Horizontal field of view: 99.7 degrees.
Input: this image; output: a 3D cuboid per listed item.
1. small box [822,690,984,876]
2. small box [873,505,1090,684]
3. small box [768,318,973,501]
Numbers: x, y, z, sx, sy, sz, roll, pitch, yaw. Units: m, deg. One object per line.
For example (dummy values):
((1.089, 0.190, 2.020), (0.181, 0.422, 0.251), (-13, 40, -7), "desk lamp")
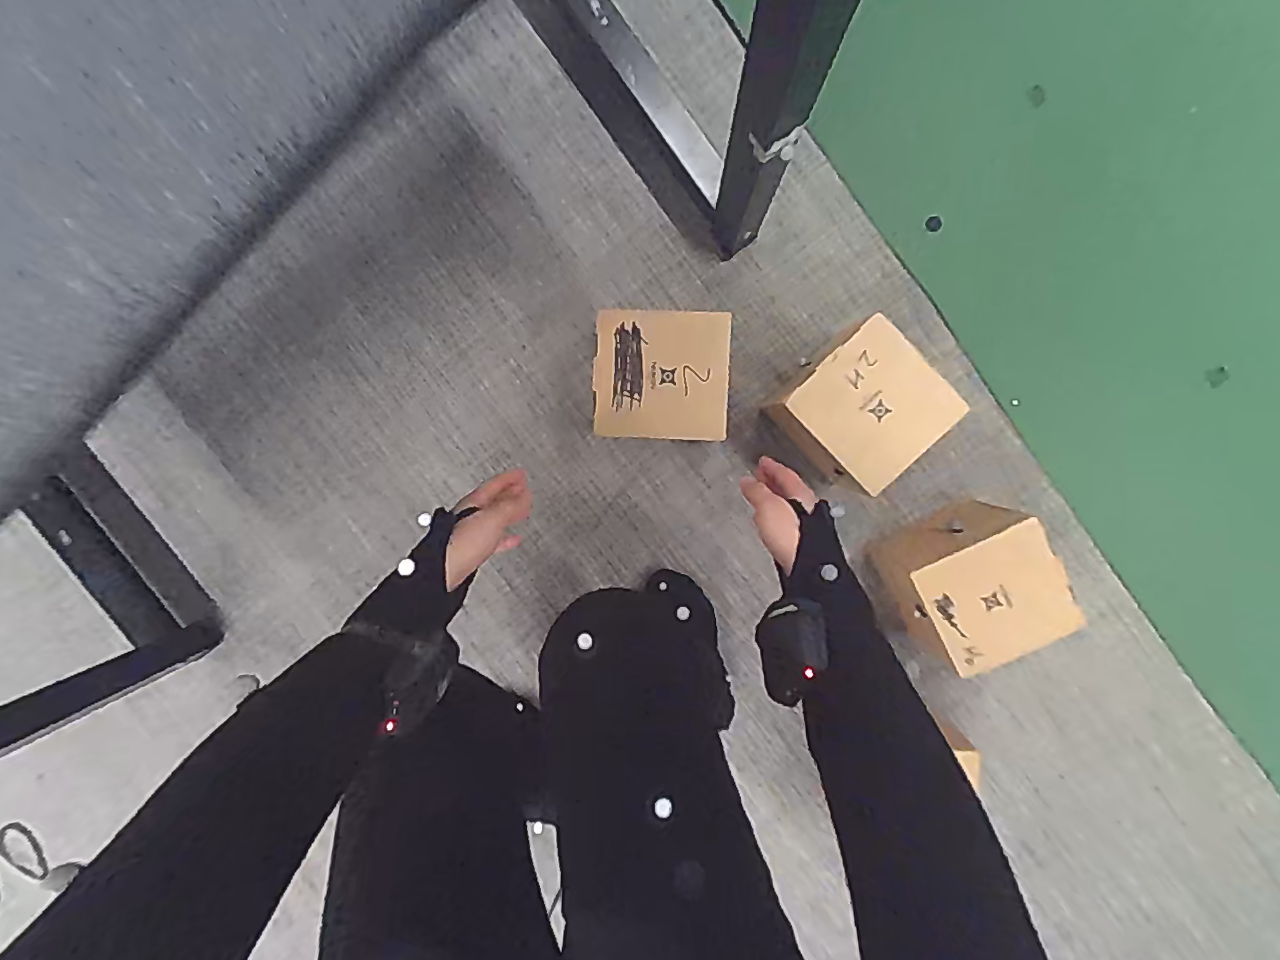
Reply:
((0.380, 0.442, 0.812), (0.168, 0.176, 0.179), (2, 95, 3), "small box")
((0.472, 0.150, 0.775), (0.179, 0.176, 0.168), (-27, 94, 6), "small box")
((0.307, -0.096, 0.761), (0.168, 0.176, 0.179), (-44, 91, 6), "small box")
